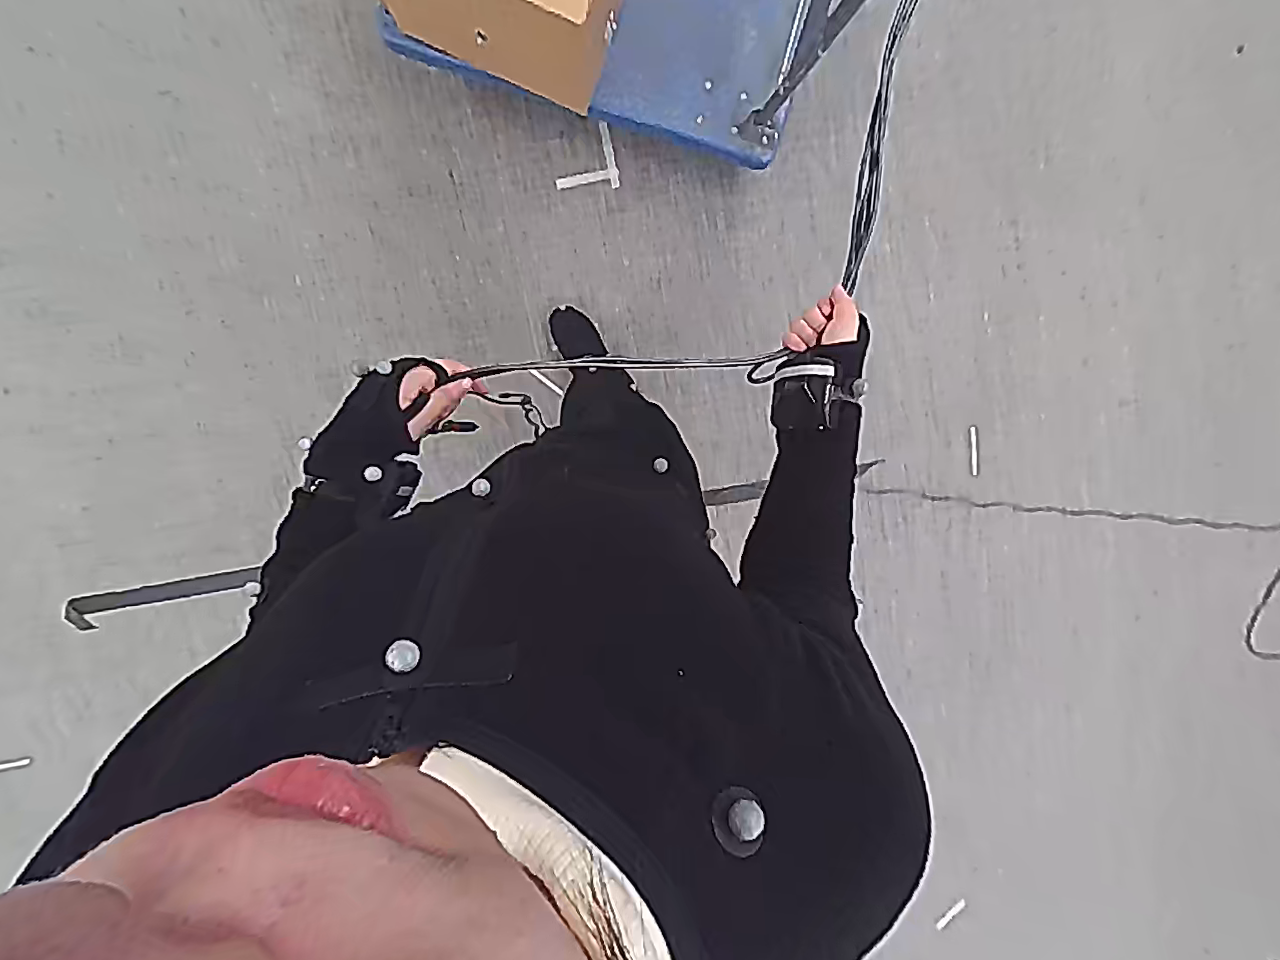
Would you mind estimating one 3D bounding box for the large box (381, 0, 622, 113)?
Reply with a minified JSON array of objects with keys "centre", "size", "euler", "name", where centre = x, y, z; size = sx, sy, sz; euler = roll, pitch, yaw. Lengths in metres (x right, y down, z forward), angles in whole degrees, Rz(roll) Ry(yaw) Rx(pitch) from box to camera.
[{"centre":[-0.237,-0.945,0.953],"size":[0.408,0.320,0.320],"euler":[19,98,-7],"name":"large box"}]
